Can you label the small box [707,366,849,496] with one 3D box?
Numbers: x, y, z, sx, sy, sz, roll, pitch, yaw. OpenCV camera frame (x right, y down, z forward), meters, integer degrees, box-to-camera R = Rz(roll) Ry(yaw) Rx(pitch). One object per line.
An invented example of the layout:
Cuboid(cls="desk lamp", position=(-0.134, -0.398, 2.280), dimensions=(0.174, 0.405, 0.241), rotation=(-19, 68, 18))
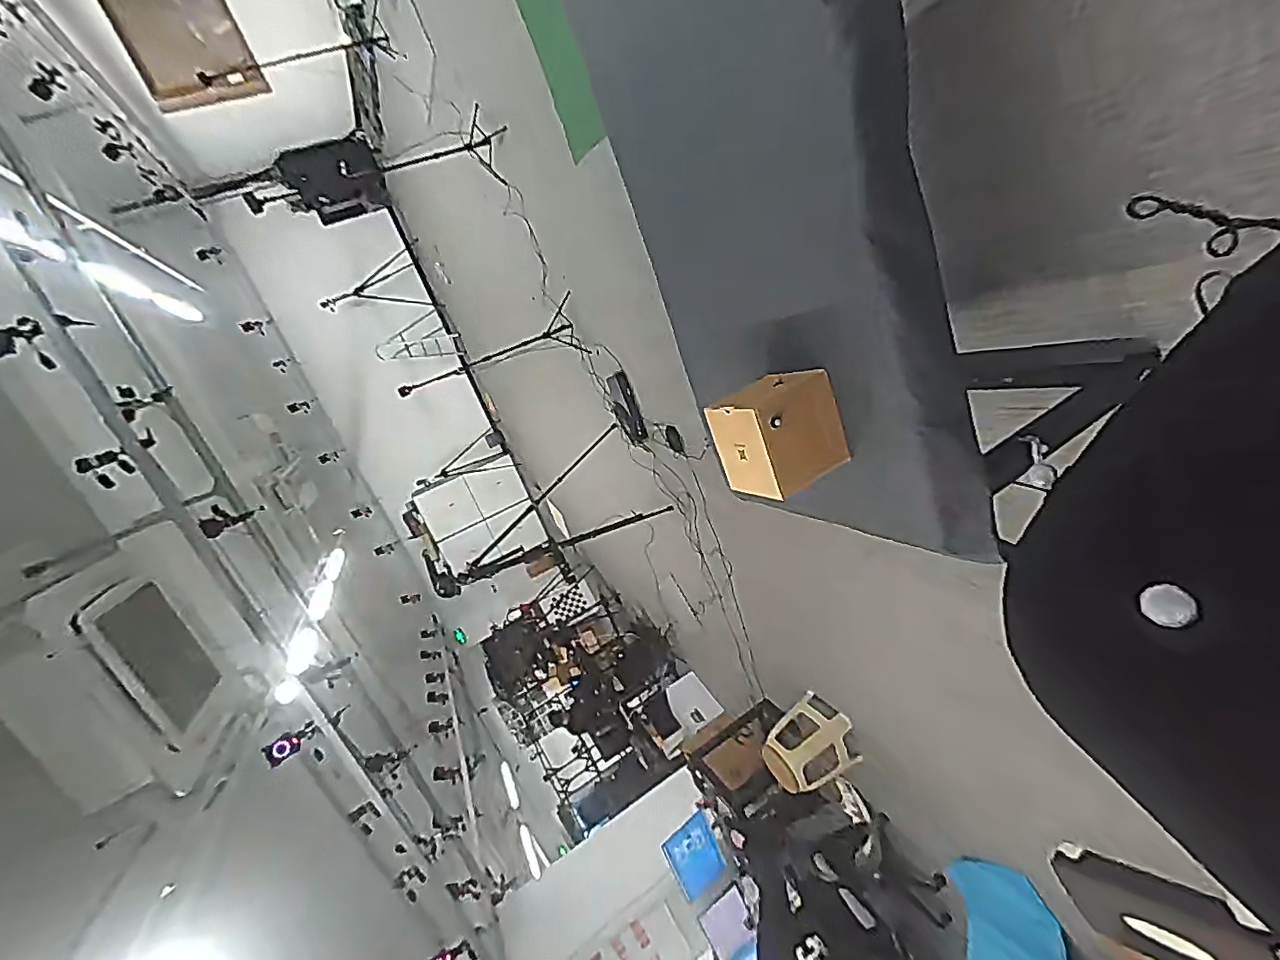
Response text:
Cuboid(cls="small box", position=(0.257, -0.094, 1.000), dimensions=(0.168, 0.176, 0.179), rotation=(16, 130, 66))
